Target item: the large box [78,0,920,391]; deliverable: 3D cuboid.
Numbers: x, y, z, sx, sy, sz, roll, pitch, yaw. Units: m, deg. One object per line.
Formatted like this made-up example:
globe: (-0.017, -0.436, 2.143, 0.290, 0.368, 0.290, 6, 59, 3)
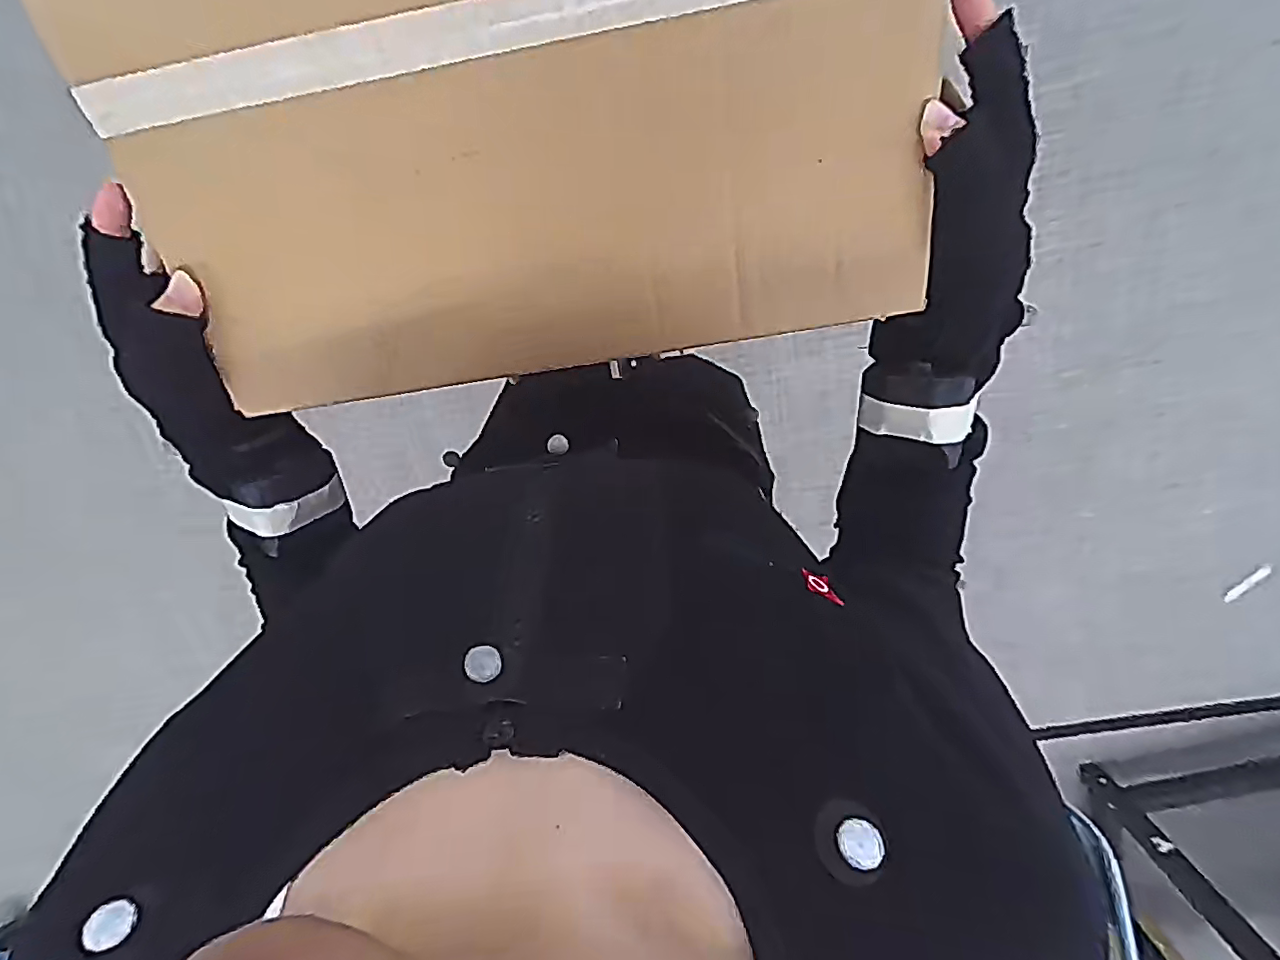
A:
large box: (-0.067, -0.283, 0.394, 0.408, 0.320, 0.320, -8, 116, 5)
